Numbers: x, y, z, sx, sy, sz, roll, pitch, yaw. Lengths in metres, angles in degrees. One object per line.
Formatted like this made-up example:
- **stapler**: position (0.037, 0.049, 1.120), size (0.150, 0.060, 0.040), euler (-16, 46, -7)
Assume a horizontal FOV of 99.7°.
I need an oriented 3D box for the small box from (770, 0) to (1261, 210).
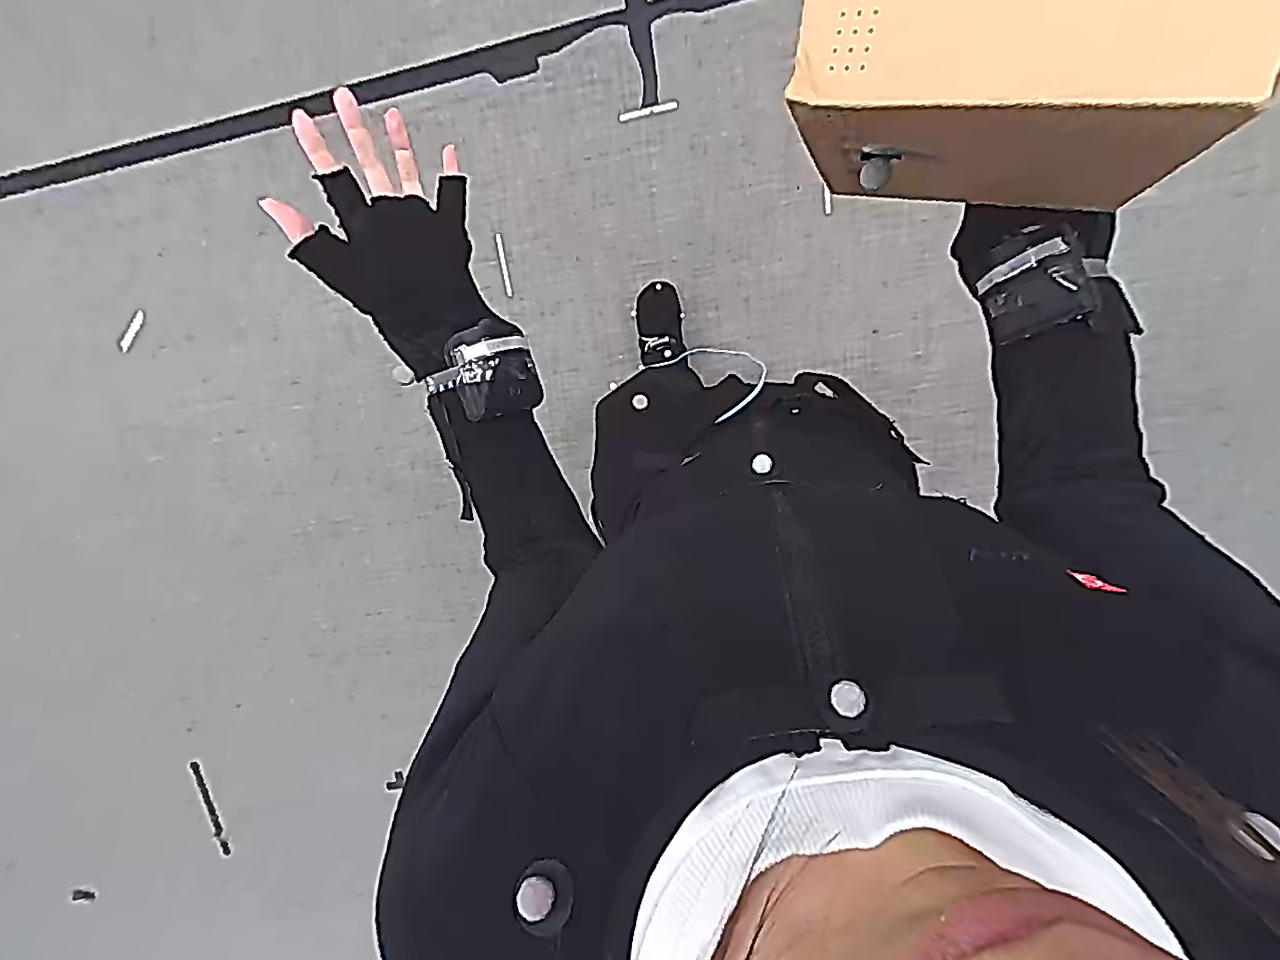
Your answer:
- **small box**: position (0.173, -0.249, 0.264), size (0.176, 0.168, 0.179), euler (17, 109, 24)
